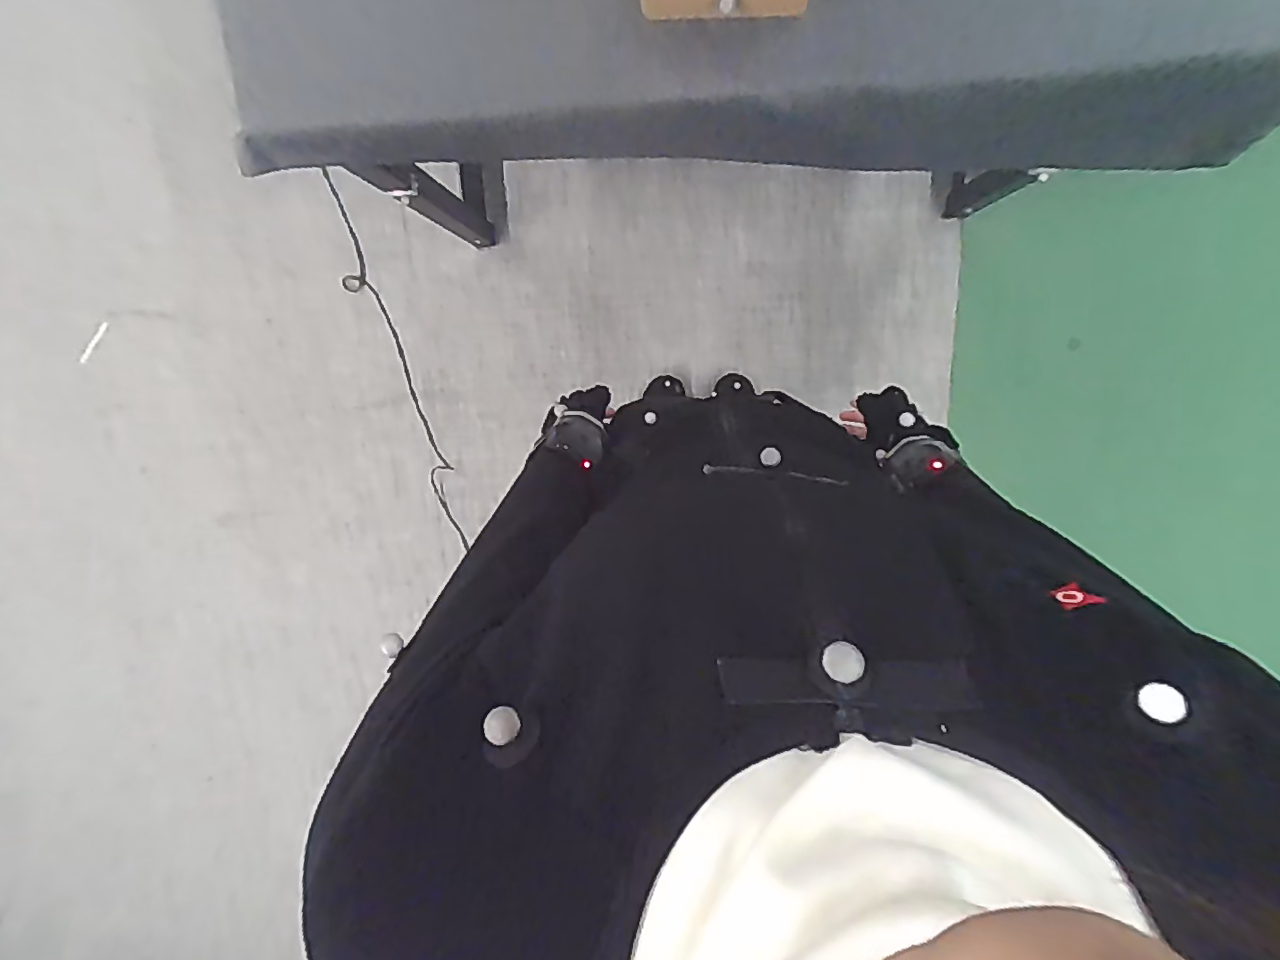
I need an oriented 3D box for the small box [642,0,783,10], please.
[{"bbox_3d":[0.085,-0.574,0.492,0.179,0.176,0.168,0,101,2],"label":"small box"}]
